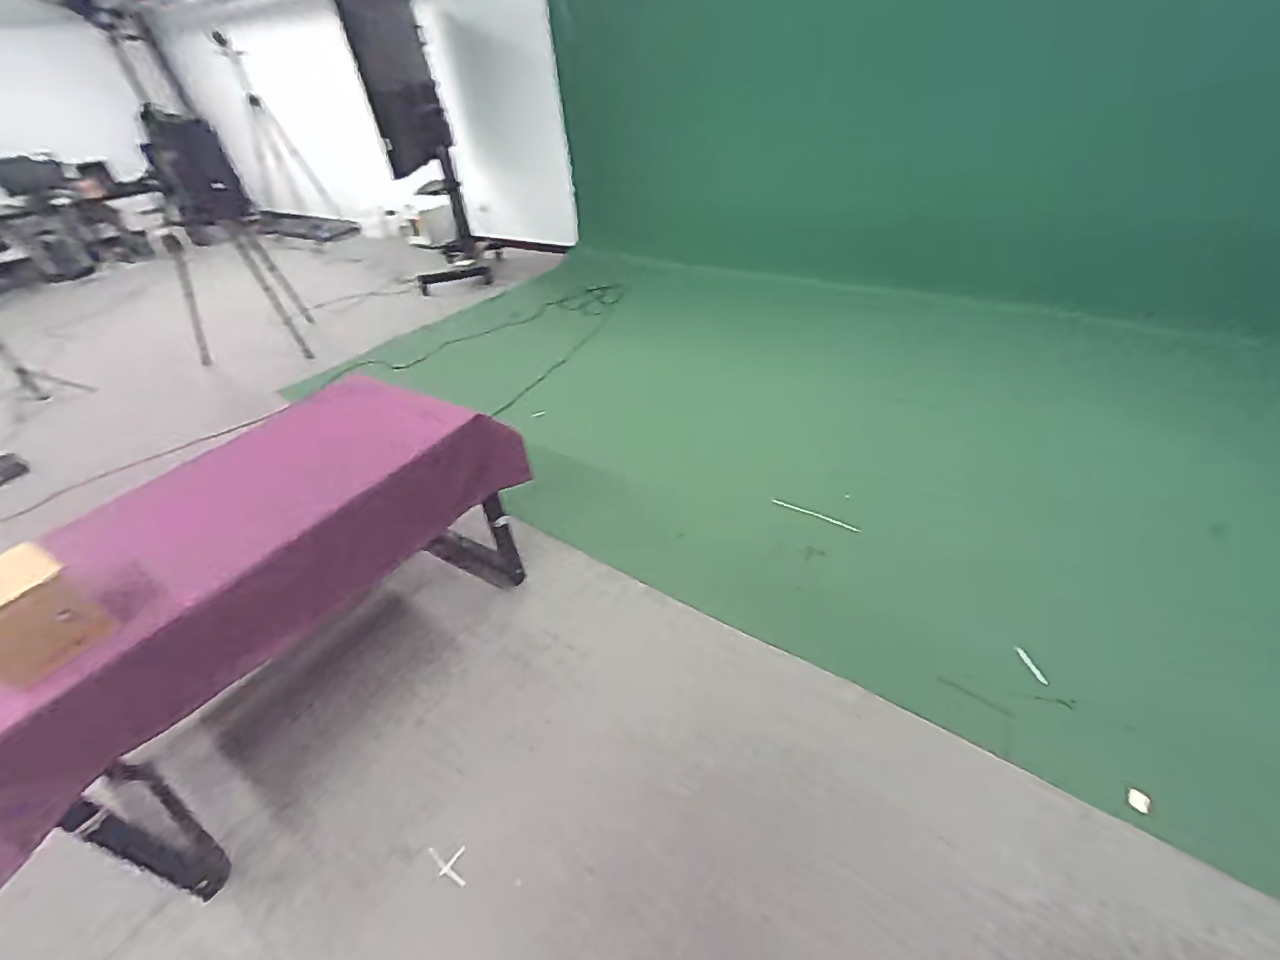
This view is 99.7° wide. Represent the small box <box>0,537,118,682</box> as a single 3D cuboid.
[{"bbox_3d":[-1.134,0.241,0.998,0.179,0.176,0.168,17,42,27],"label":"small box"}]
